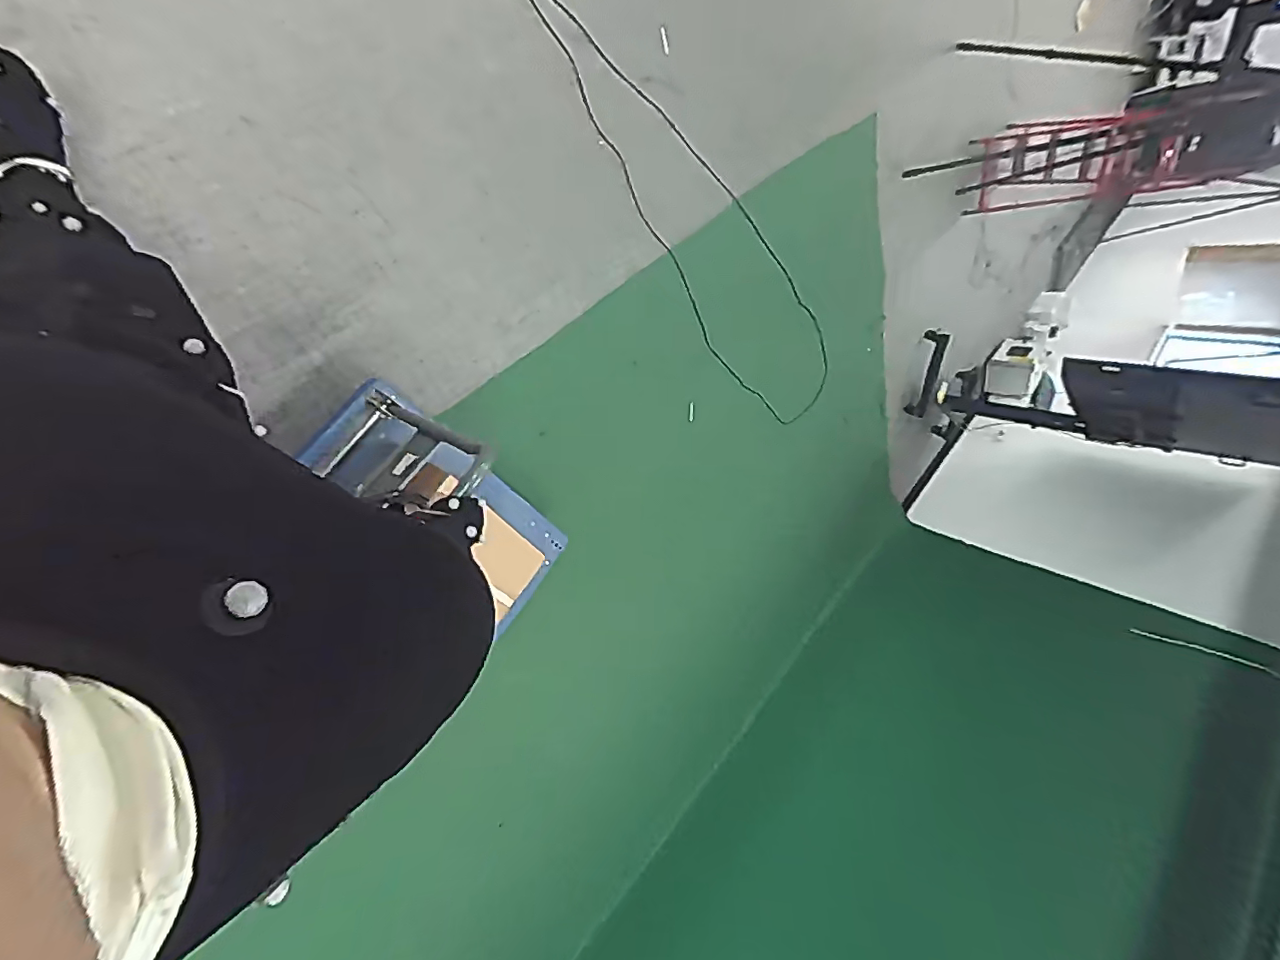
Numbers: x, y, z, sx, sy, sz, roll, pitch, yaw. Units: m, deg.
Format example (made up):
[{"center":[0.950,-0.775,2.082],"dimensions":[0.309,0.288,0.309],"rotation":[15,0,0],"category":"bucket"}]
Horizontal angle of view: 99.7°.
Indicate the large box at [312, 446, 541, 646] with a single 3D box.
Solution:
[{"center":[-0.550,0.171,1.428],"dimensions":[0.320,0.320,0.408],"rotation":[-53,137,-16],"category":"large box"}]
